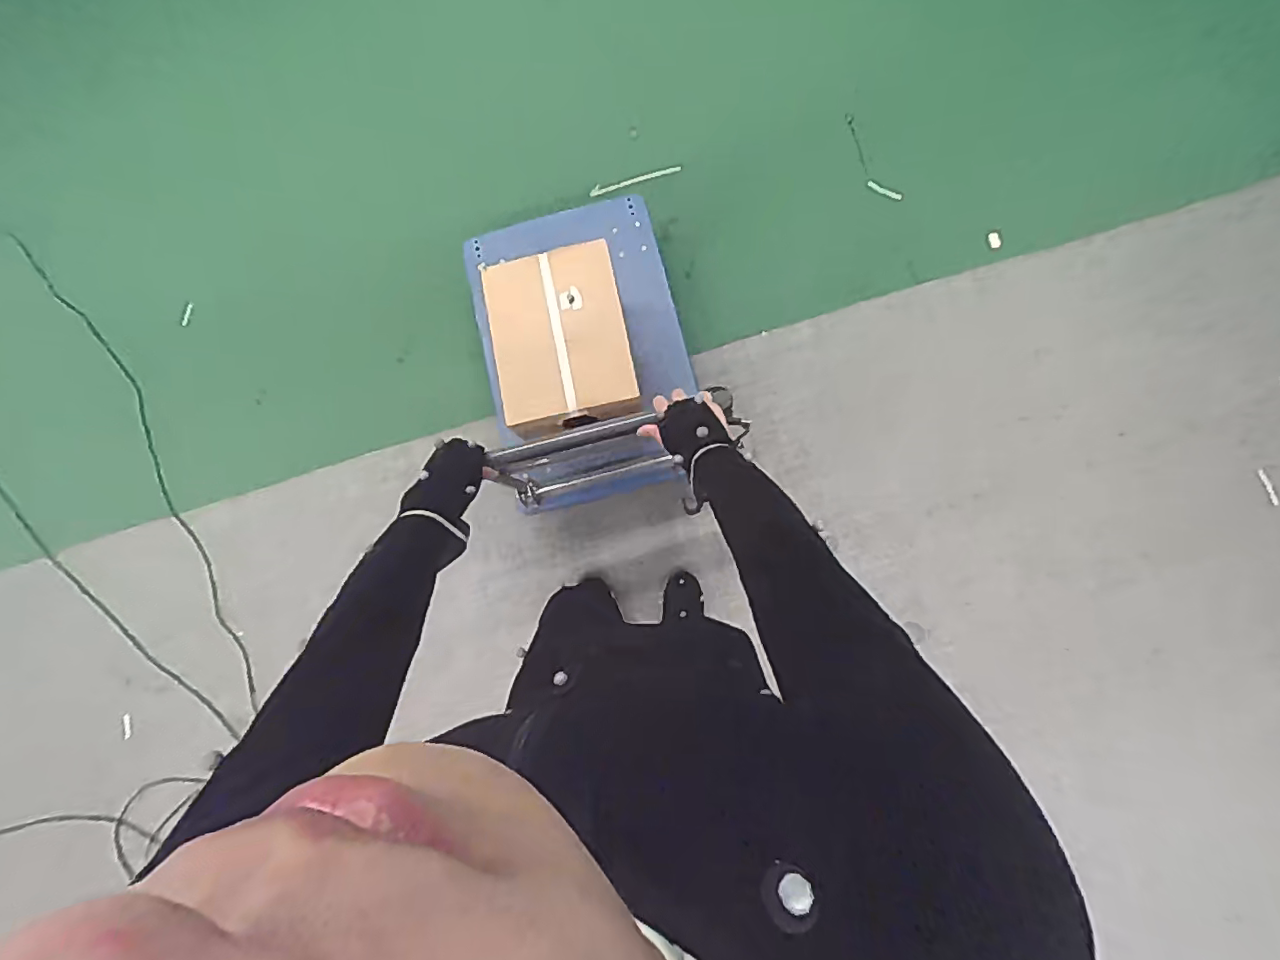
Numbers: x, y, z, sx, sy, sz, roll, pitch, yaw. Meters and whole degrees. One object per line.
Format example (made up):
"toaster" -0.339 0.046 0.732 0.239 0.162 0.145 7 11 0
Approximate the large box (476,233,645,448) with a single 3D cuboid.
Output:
"large box" -0.186 -0.333 1.384 0.320 0.320 0.408 -12 80 2
